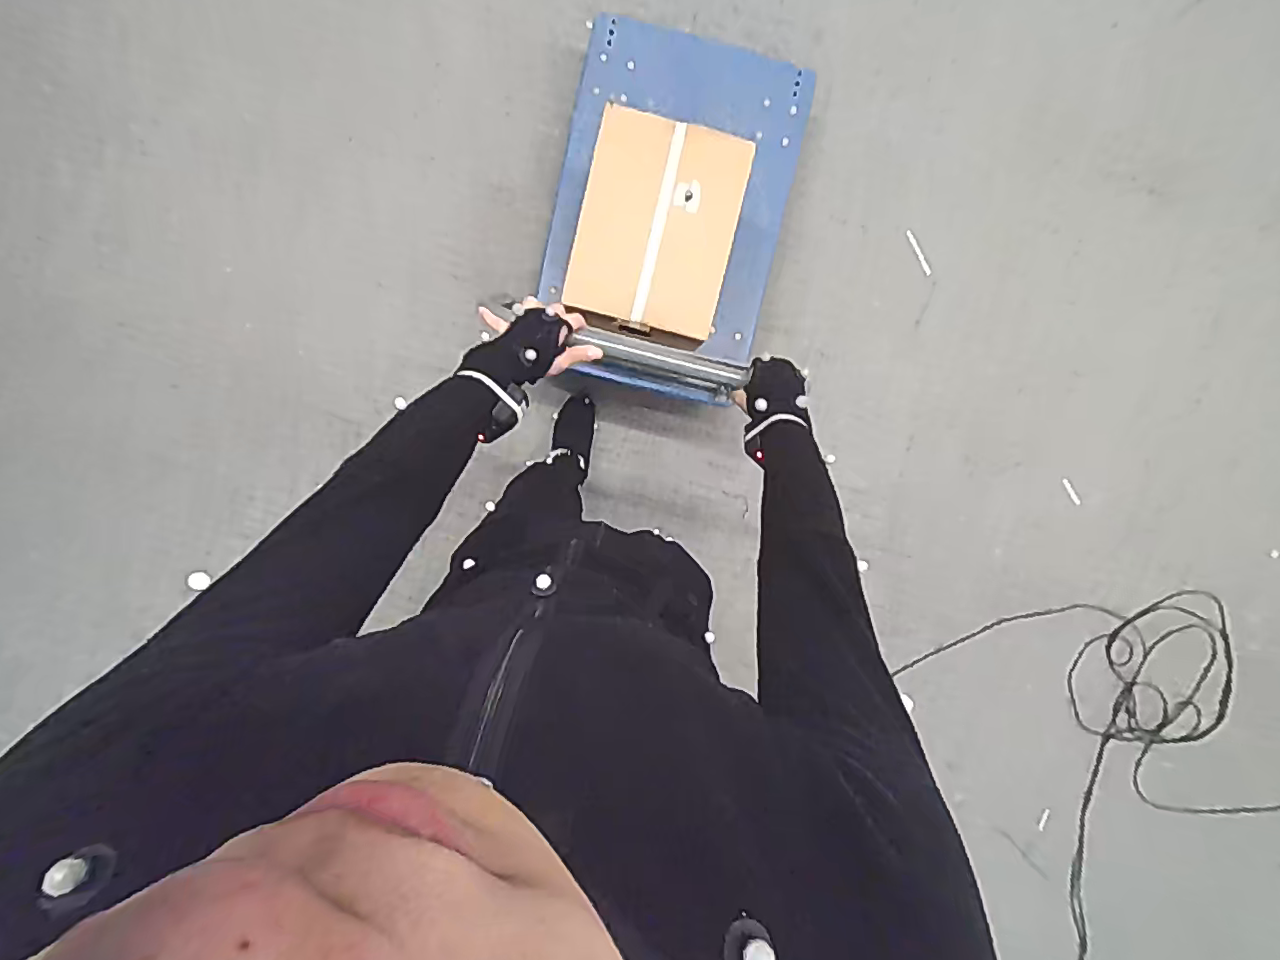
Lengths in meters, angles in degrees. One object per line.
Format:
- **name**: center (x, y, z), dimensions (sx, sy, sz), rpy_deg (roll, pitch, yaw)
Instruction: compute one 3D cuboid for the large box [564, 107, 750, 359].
- **large box**: center (0.028, -0.527, 1.243), dimensions (0.320, 0.320, 0.408), rpy_deg (13, 93, -4)
